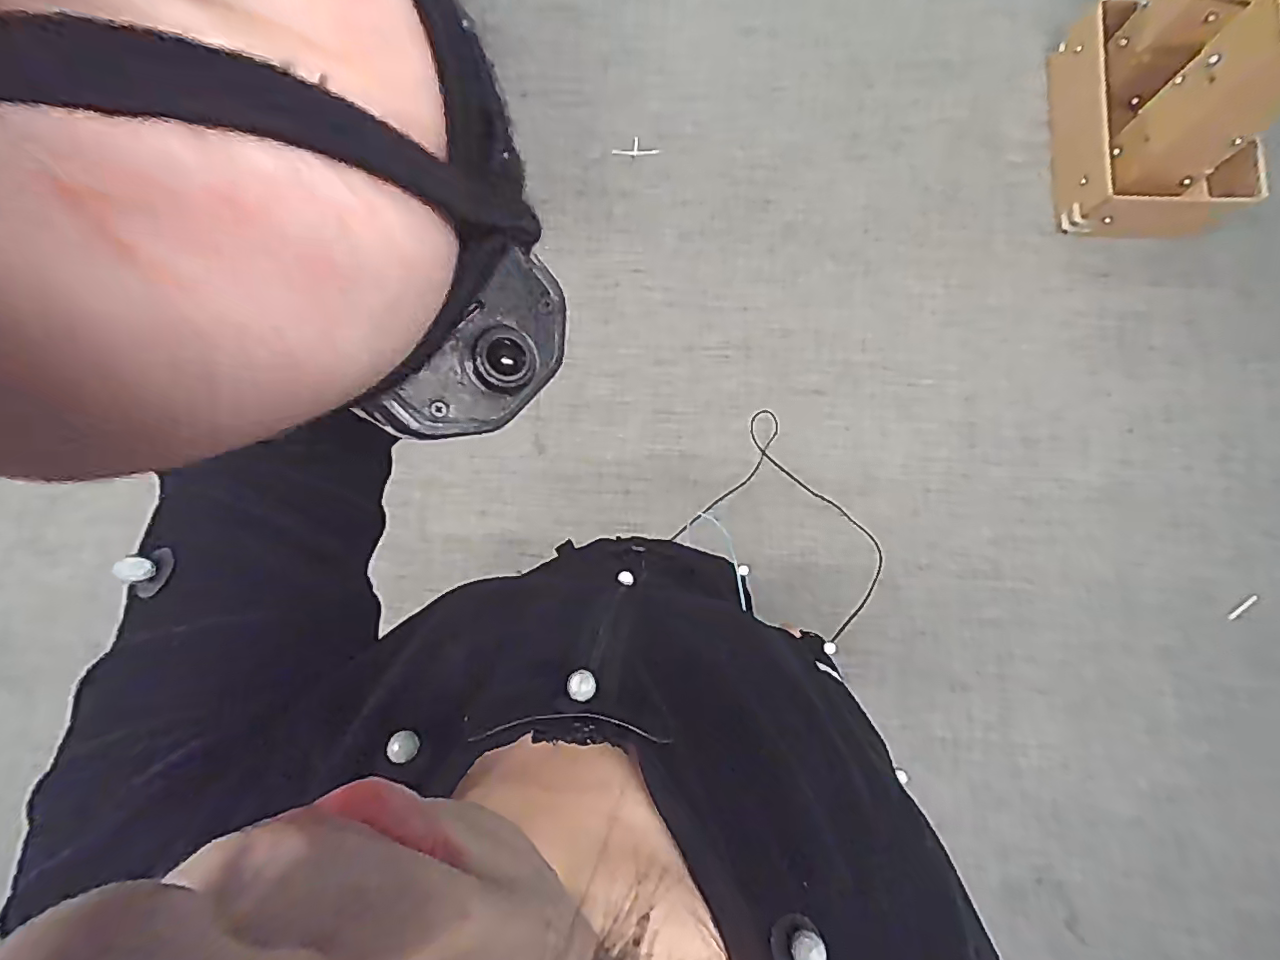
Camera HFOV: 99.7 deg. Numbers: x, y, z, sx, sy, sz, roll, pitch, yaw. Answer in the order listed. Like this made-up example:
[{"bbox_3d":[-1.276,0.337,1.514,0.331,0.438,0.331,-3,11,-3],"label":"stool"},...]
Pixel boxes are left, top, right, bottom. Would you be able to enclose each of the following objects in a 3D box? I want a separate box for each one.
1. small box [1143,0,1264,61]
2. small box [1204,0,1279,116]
[{"bbox_3d":[1.421,-1.200,1.355,0.179,0.176,0.168,10,84,2],"label":"small box"},{"bbox_3d":[1.380,-0.918,1.157,0.179,0.176,0.168,6,82,3],"label":"small box"}]
